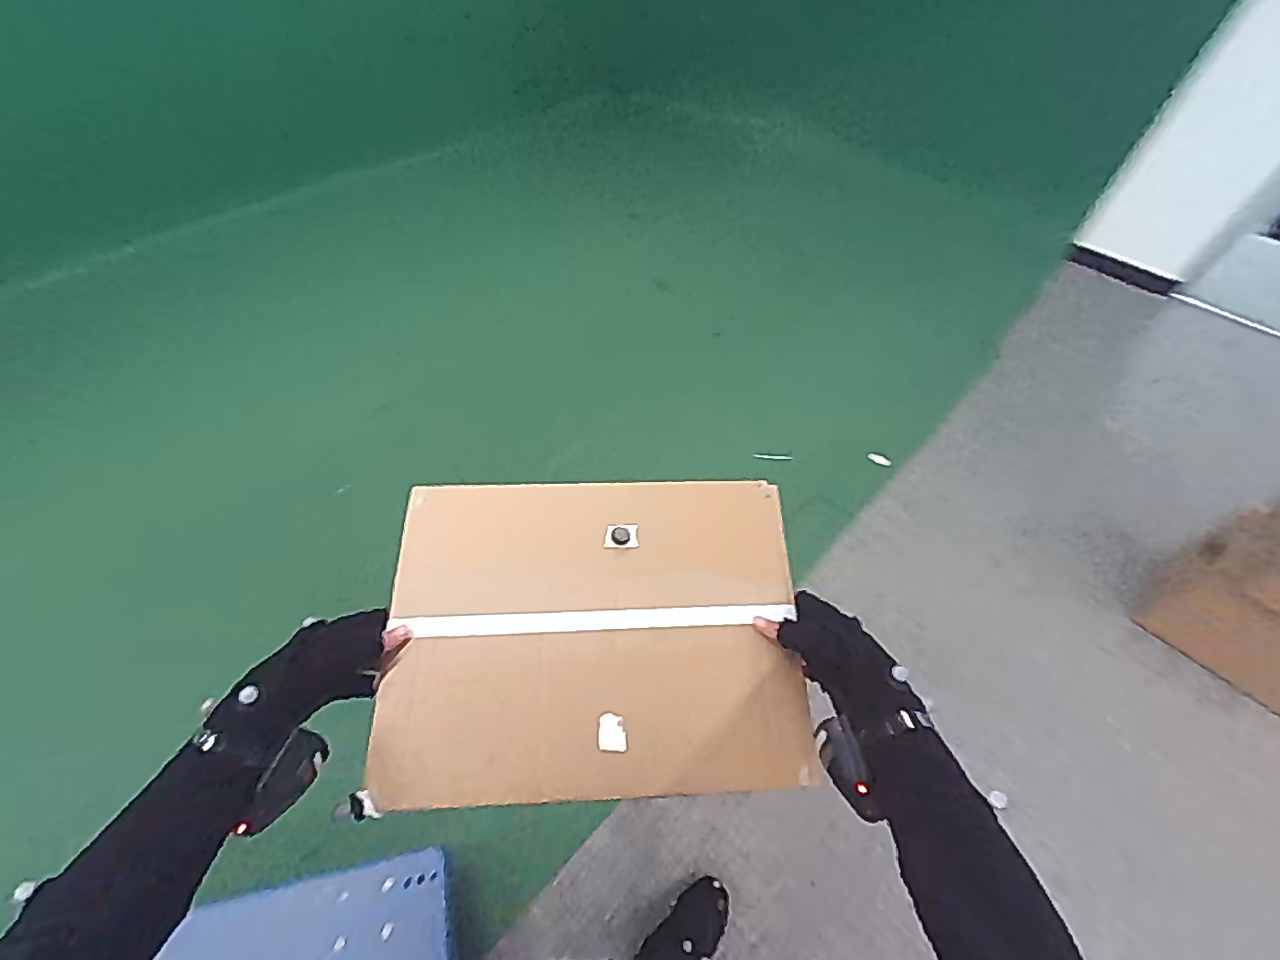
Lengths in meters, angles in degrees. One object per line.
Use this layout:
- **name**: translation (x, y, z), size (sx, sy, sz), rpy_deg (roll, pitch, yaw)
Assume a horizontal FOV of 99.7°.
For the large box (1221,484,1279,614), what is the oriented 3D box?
- **large box**: translation (1.641, 0.178, 1.163), size (0.408, 0.320, 0.320), rpy_deg (37, 63, 23)
